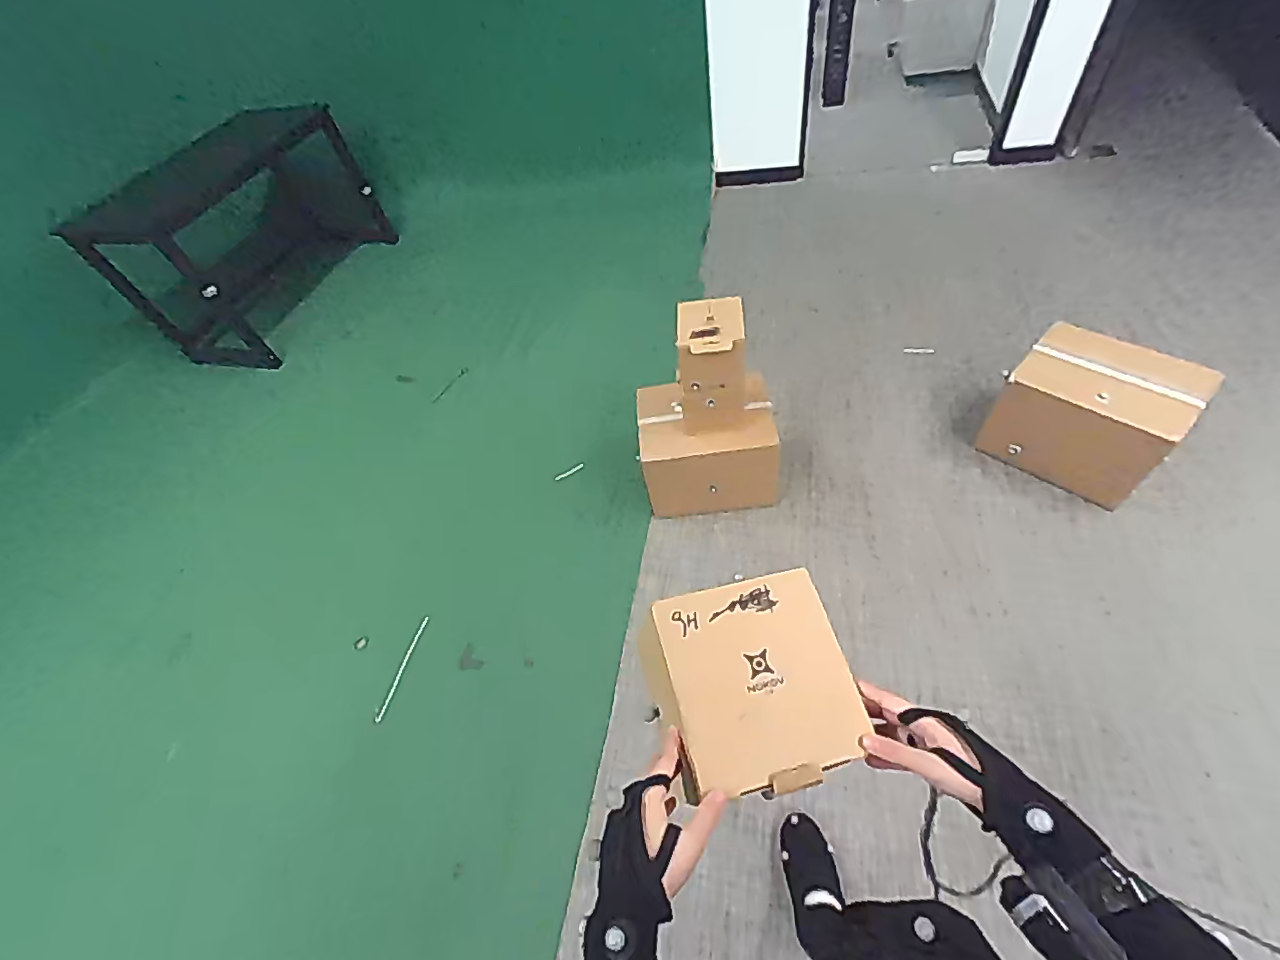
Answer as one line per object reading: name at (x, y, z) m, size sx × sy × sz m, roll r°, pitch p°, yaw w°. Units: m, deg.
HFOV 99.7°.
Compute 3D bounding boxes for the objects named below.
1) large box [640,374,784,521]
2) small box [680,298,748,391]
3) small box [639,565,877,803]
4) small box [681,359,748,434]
large box at (0.230, -0.096, 1.743) m, size 0.408 × 0.320 × 0.320 m, roll -9°, pitch 51°, yaw 7°
small box at (0.196, -0.349, 1.421) m, size 0.168 × 0.176 × 0.179 m, roll -4°, pitch 54°, yaw 10°
small box at (0.102, 0.209, 0.559) m, size 0.168 × 0.176 × 0.179 m, roll -10°, pitch 64°, yaw -12°
small box at (0.215, -0.247, 1.549) m, size 0.179 × 0.176 × 0.168 m, roll -5°, pitch 54°, yaw 8°
